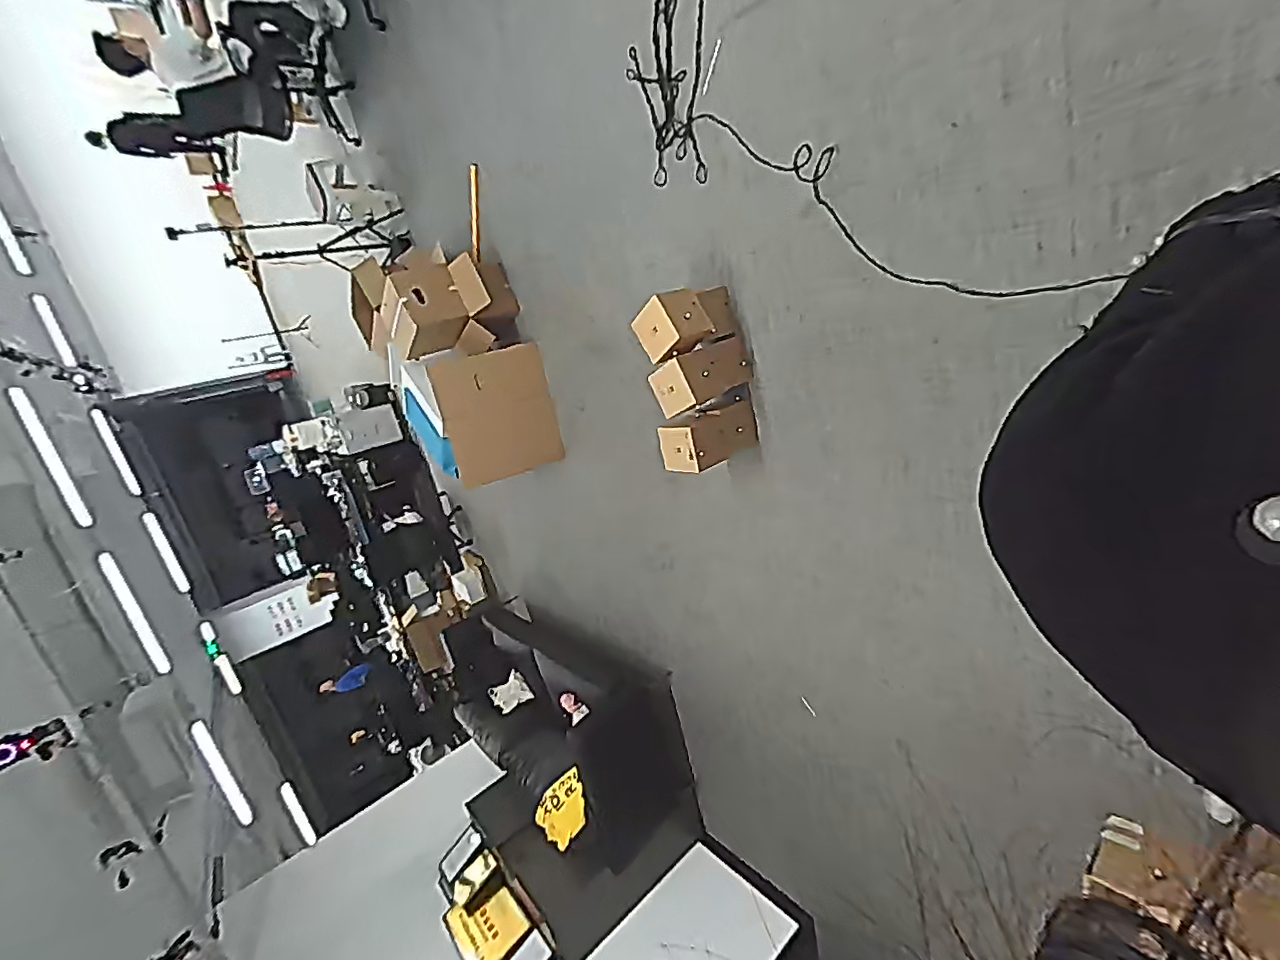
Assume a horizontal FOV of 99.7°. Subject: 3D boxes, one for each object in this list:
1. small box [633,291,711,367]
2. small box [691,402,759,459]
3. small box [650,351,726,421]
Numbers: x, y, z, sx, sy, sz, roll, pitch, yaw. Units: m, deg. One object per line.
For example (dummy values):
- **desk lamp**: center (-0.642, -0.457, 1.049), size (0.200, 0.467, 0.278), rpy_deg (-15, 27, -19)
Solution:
- **small box**: center (0.114, -0.510, 1.816), size (0.168, 0.176, 0.179), rpy_deg (61, 147, 6)
- **small box**: center (0.322, -0.189, 2.028), size (0.168, 0.176, 0.179), rpy_deg (5, 115, 53)
- **small box**: center (0.172, -0.326, 1.857), size (0.179, 0.176, 0.168), rpy_deg (-24, 91, 56)
